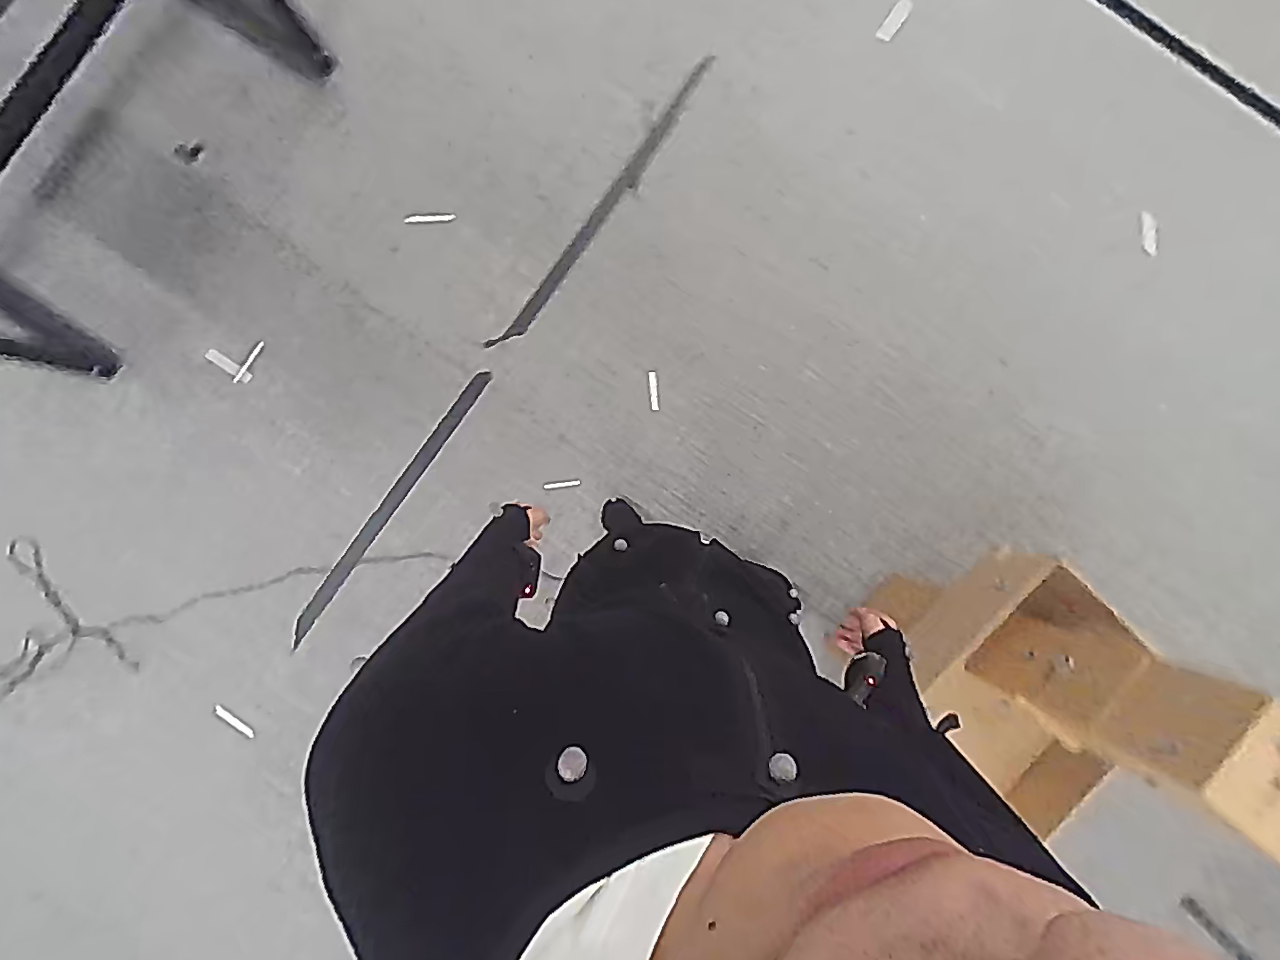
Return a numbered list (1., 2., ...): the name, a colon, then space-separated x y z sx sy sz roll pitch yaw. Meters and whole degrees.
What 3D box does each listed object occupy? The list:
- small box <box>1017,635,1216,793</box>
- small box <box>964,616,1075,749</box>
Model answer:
1. small box: 0.854 0.412 0.987 0.179 0.176 0.168 39 89 -1
2. small box: 0.843 0.418 1.151 0.168 0.176 0.179 41 90 0
